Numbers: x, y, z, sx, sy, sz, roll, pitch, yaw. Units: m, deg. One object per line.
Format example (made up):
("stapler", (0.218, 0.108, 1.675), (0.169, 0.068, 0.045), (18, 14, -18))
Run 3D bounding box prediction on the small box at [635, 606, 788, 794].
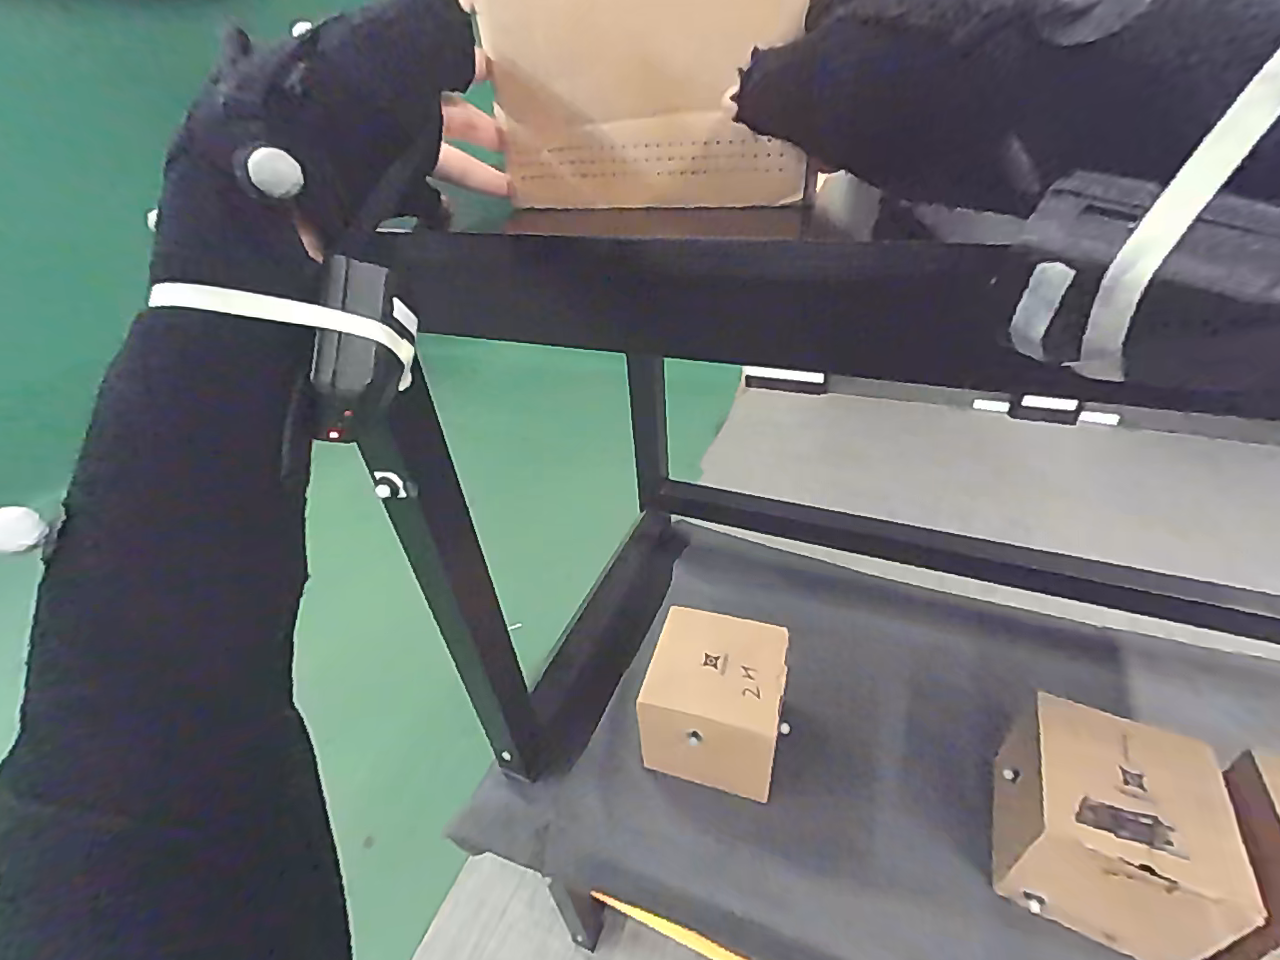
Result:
("small box", (0.106, 0.310, 0.768), (0.179, 0.176, 0.168), (9, 38, 17))
